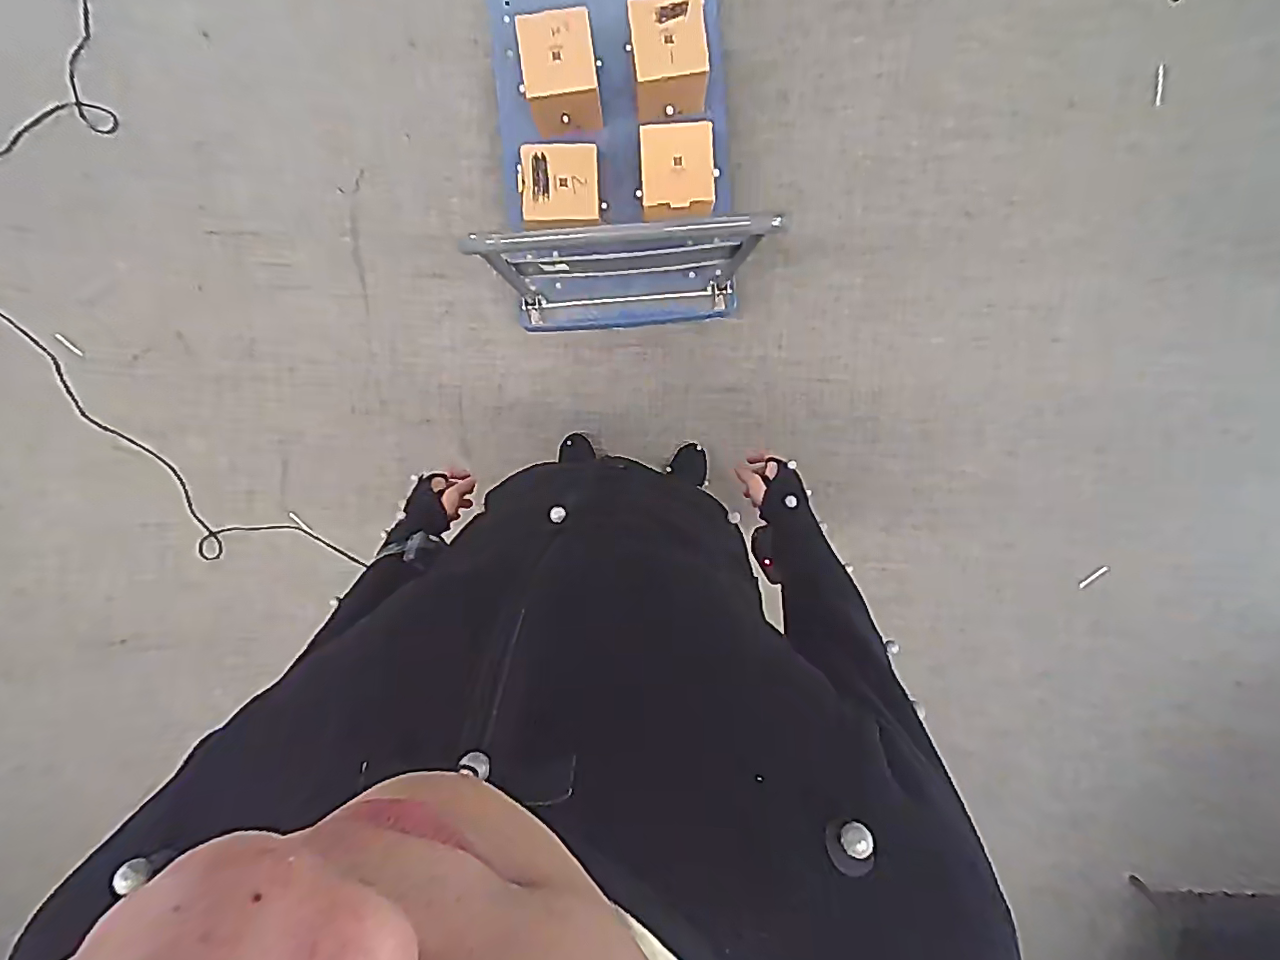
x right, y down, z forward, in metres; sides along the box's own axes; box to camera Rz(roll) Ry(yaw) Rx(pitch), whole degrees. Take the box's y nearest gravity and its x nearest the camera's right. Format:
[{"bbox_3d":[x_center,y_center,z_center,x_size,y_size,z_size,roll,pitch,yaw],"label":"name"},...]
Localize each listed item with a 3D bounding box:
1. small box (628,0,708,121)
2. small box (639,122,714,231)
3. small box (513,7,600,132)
[{"bbox_3d":[0.062,-0.992,1.274,0.168,0.176,0.179,-8,97,2],"label":"small box"},{"bbox_3d":[0.083,-0.724,1.303,0.168,0.176,0.179,-3,96,0],"label":"small box"},{"bbox_3d":[-0.189,-0.956,1.279,0.168,0.176,0.179,-8,96,0],"label":"small box"}]
